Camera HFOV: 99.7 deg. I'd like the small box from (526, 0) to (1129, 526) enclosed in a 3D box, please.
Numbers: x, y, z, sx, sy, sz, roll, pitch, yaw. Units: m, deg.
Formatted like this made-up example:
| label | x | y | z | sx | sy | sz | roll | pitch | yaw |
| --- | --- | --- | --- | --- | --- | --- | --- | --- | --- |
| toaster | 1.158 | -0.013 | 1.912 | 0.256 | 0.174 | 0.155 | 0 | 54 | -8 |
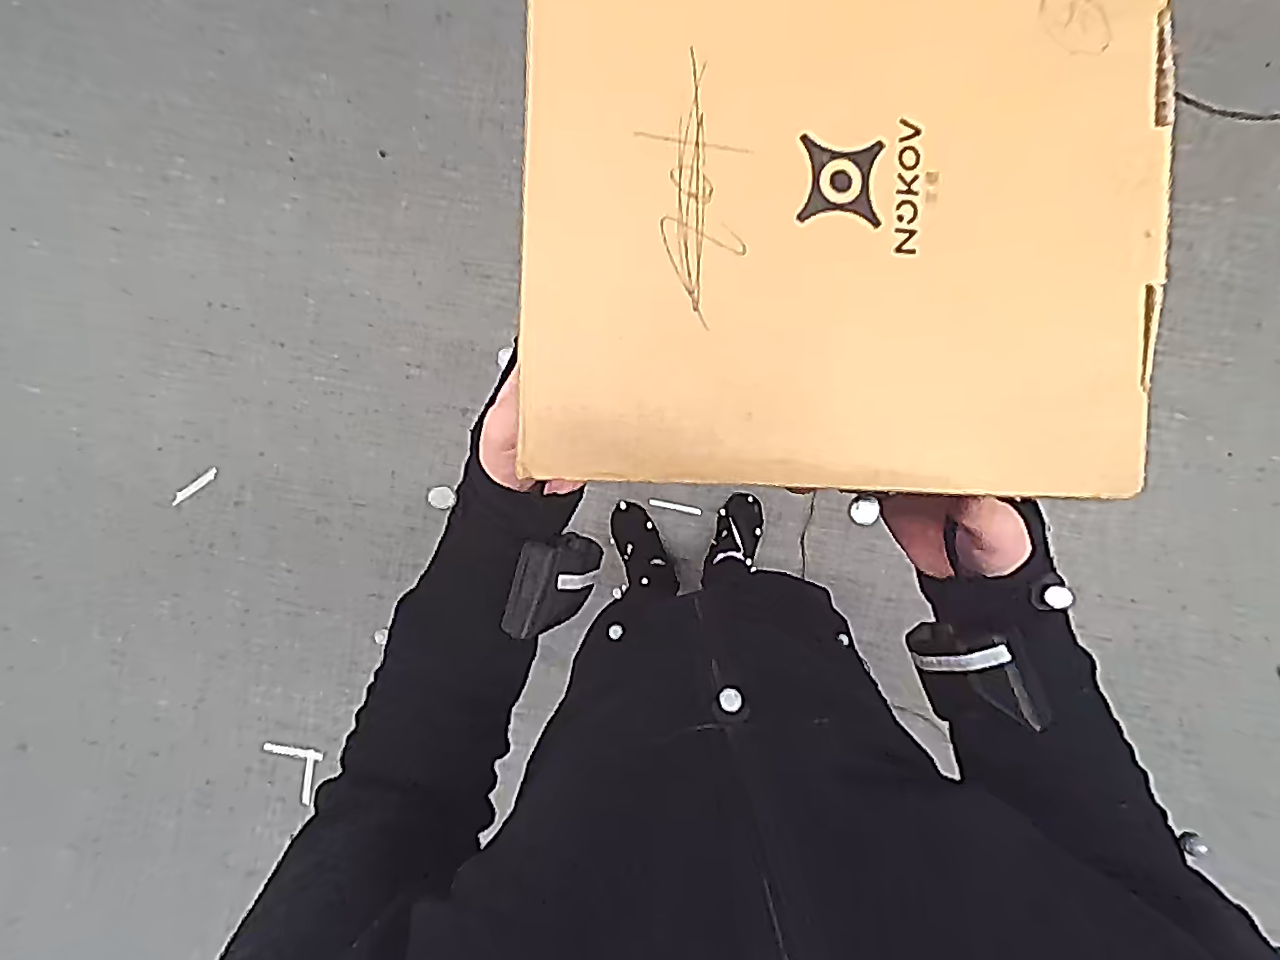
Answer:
| label | x | y | z | sx | sy | sz | roll | pitch | yaw |
| --- | --- | --- | --- | --- | --- | --- | --- | --- | --- |
| small box | 0.052 | -0.073 | 0.238 | 0.179 | 0.176 | 0.168 | 2 | 91 | -3 |
